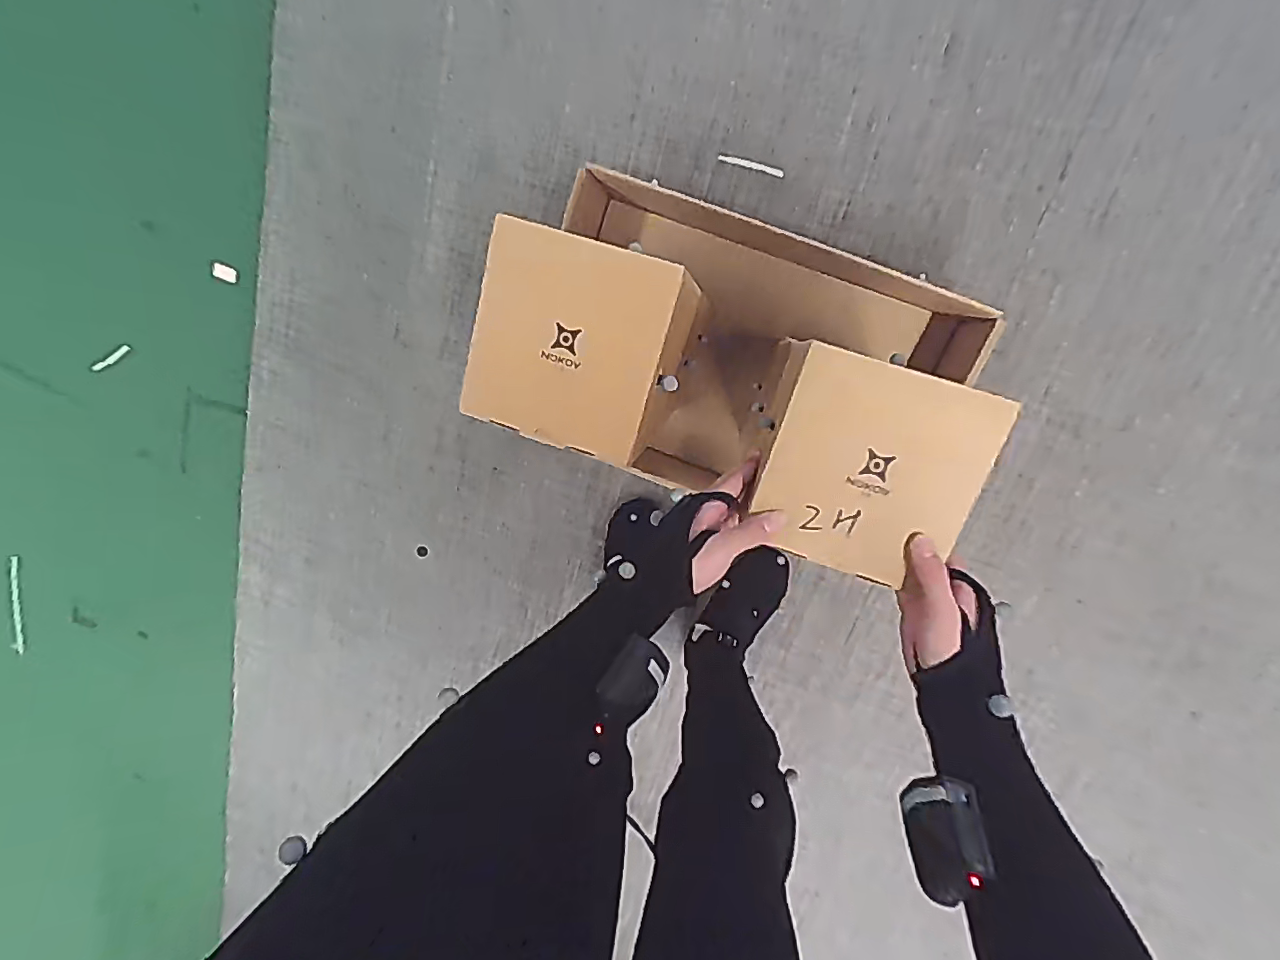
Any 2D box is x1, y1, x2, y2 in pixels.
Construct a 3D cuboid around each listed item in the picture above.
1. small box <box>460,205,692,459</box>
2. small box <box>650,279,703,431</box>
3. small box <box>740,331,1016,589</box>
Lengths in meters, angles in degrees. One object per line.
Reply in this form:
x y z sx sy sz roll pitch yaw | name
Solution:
-0.051 -0.142 0.536 0.168 0.176 0.179 18 107 5 | small box
-0.023 -0.178 0.692 0.168 0.176 0.179 20 105 6 | small box
0.199 -0.031 0.514 0.168 0.176 0.179 19 106 6 | small box
